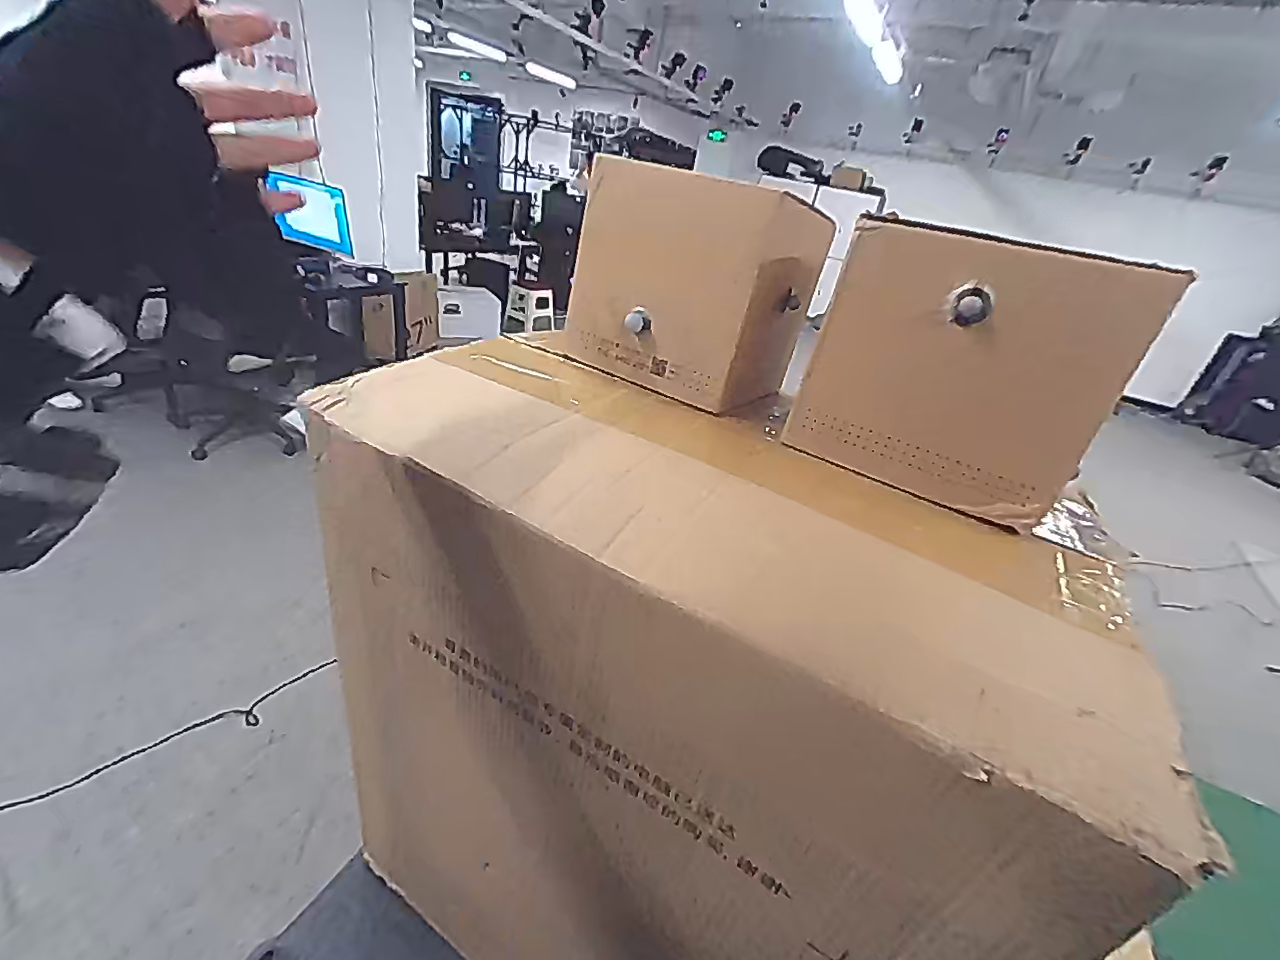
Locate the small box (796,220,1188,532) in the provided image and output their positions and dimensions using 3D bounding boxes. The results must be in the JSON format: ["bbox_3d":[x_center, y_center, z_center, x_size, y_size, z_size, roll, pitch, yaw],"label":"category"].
[{"bbox_3d":[0.243,-0.084,0.419,0.179,0.176,0.168,25,28,22],"label":"small box"}]
